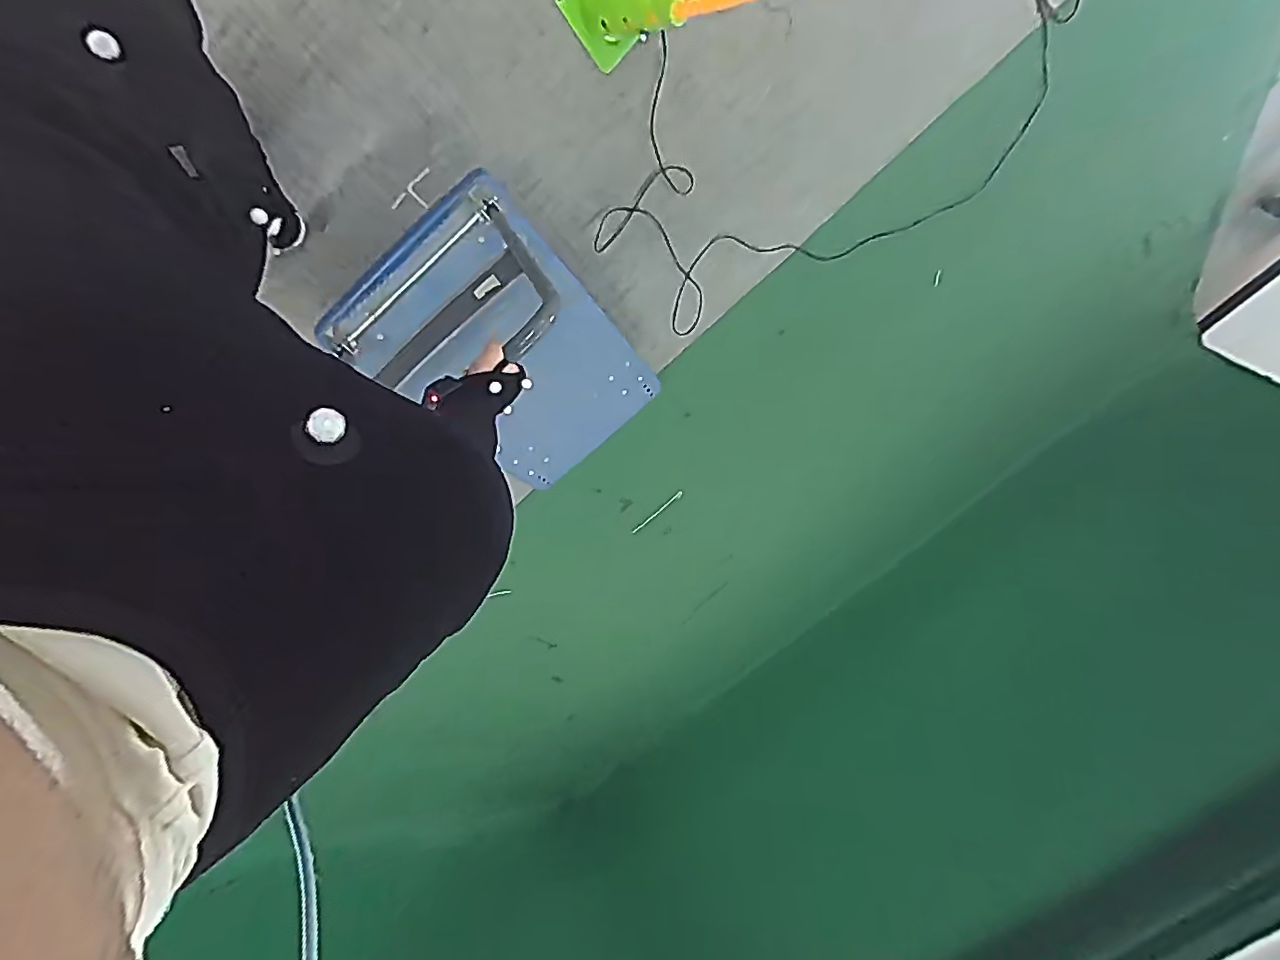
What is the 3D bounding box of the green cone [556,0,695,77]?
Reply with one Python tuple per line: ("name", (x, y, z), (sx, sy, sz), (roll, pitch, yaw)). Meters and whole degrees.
("green cone", (0.005, -0.972, 1.118), (0.202, 0.368, 0.200), (-45, 139, 12))
